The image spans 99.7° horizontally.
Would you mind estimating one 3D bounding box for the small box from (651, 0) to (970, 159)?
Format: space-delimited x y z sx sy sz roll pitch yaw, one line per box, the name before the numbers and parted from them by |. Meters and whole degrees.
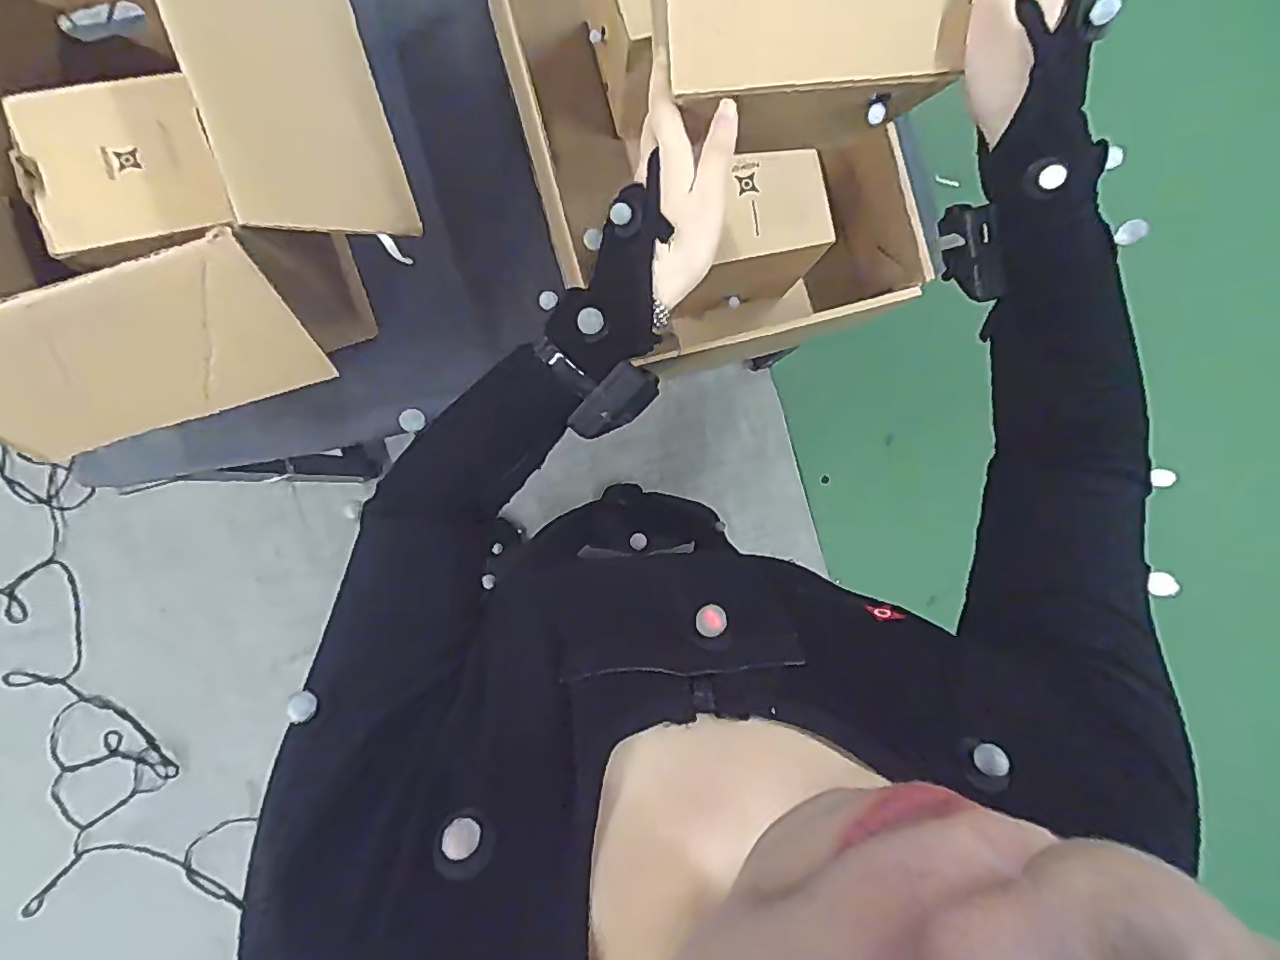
small box | 0.097 -0.335 0.370 0.179 0.176 0.168 -5 109 0
